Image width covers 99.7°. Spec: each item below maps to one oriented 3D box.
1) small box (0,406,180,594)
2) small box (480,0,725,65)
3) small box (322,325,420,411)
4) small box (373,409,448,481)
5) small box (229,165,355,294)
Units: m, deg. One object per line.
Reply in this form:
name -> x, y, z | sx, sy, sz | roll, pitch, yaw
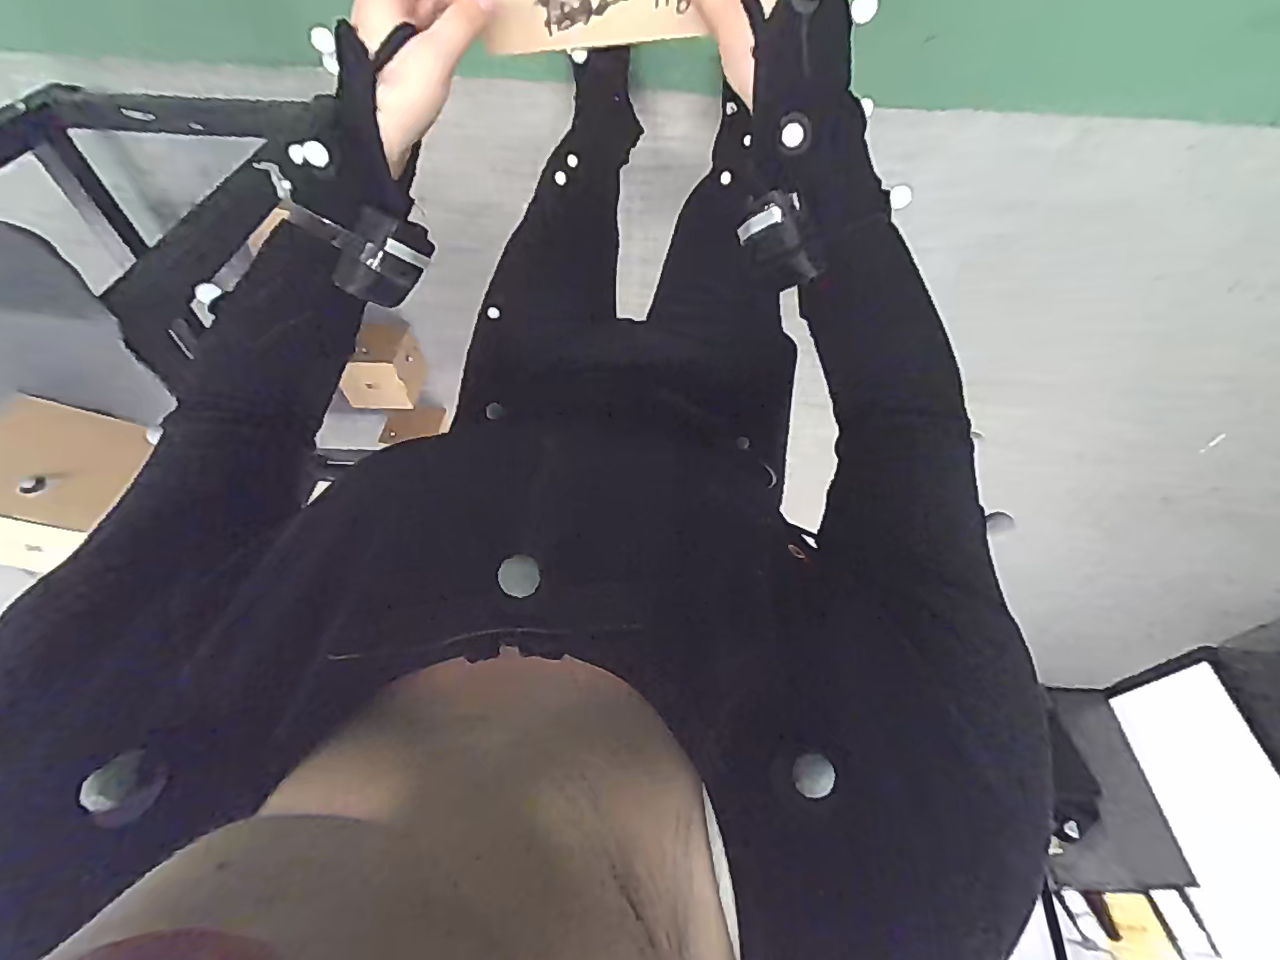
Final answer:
small box -> -0.761, 0.028, 0.721 | 0.179, 0.176, 0.168 | 18, 140, -16
small box -> -0.029, -0.417, 0.362 | 0.168, 0.176, 0.179 | -2, 145, 4
small box -> -0.725, -0.308, 1.486 | 0.179, 0.176, 0.168 | 2, 142, 1
small box -> -0.727, -0.117, 1.740 | 0.179, 0.176, 0.168 | 5, 143, -5
small box -> -0.741, -0.543, 1.178 | 0.168, 0.176, 0.179 | 10, 140, -12
